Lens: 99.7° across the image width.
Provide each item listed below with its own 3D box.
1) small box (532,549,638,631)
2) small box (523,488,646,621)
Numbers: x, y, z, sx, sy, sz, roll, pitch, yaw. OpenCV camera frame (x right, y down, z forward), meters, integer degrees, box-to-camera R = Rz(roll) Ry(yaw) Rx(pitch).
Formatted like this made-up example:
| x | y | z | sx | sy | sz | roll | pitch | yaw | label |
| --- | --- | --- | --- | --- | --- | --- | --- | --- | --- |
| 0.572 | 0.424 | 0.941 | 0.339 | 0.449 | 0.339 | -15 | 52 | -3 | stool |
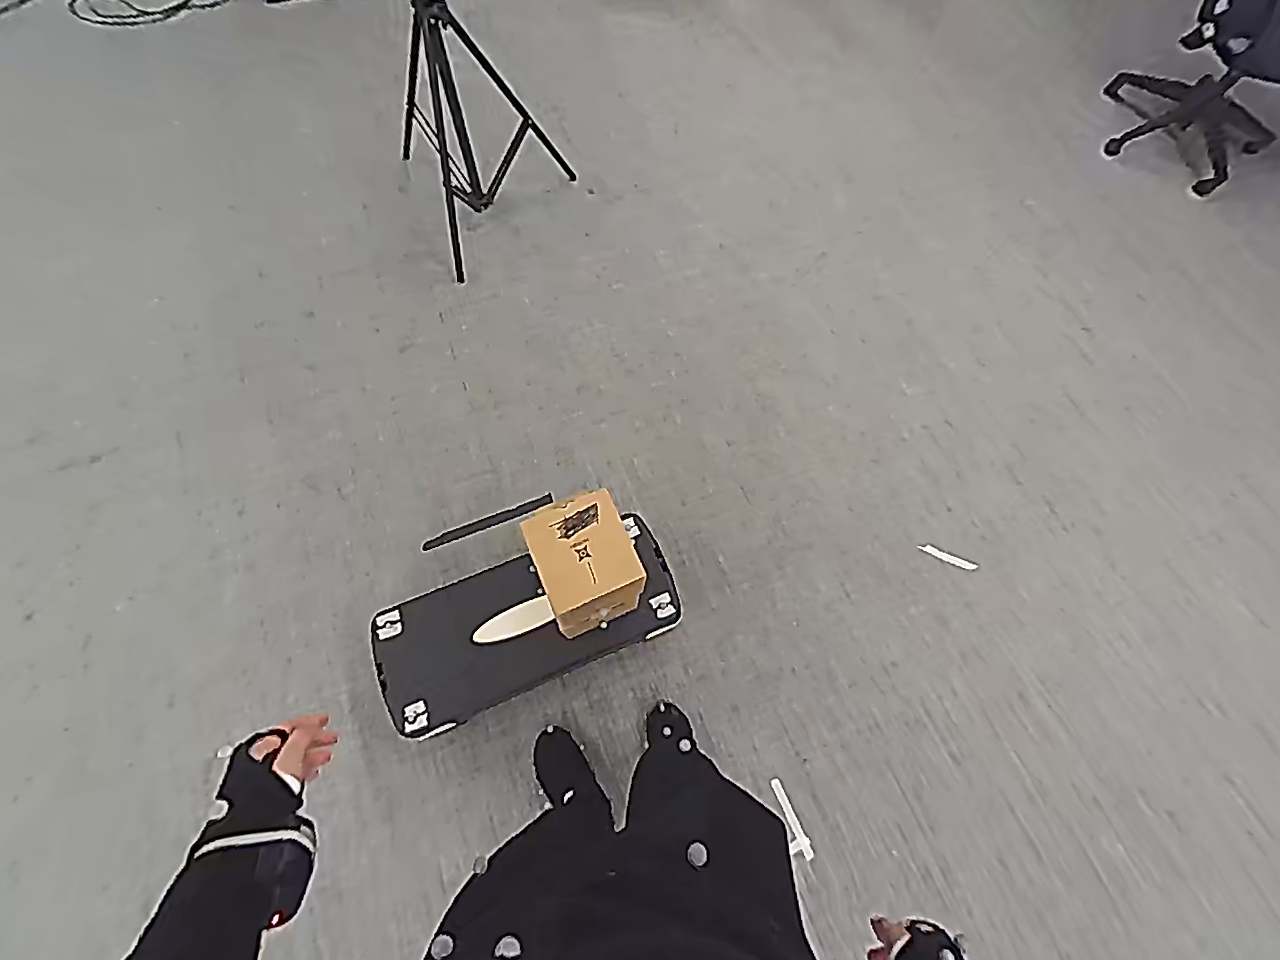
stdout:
| x | y | z | sx | sy | sz | roll | pitch | yaw | label |
| --- | --- | --- | --- | --- | --- | --- | --- | --- | --- |
| -0.115 | 0.209 | 1.151 | 0.168 | 0.176 | 0.179 | -23 | 72 | -10 | small box |
| -0.101 | 0.144 | 1.001 | 0.168 | 0.176 | 0.179 | -23 | 72 | -10 | small box |
